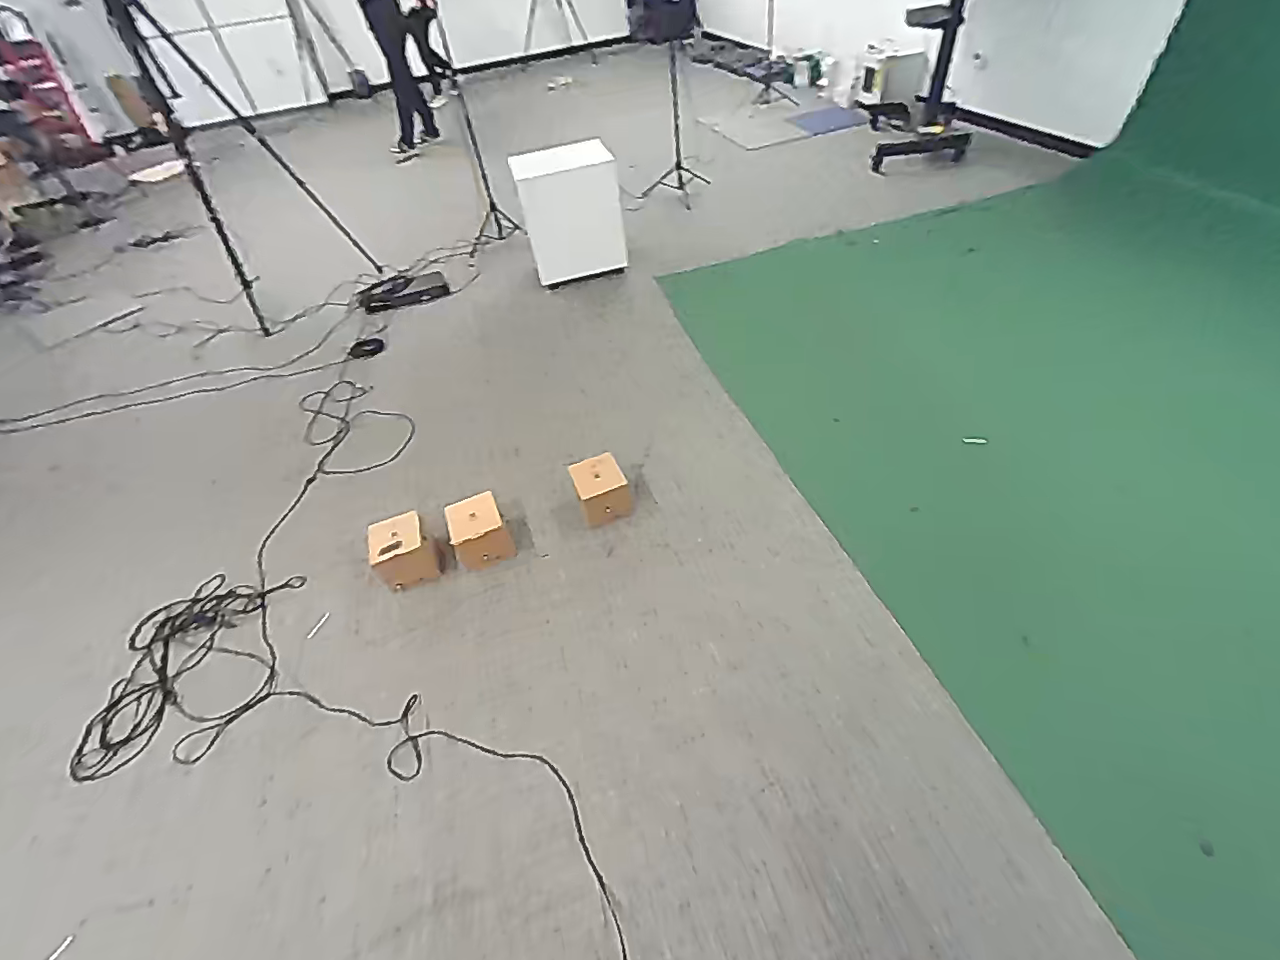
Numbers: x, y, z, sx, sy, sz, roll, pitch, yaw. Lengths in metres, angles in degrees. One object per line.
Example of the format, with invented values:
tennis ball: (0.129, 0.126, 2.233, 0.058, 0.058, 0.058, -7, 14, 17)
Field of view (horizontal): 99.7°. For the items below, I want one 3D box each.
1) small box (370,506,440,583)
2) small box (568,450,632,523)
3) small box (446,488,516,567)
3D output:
small box: (-0.783, 0.224, 1.808, 0.168, 0.176, 0.179, -19, 47, -10)
small box: (-0.137, 0.029, 1.898, 0.168, 0.176, 0.179, -20, 49, -12)
small box: (-0.537, 0.162, 1.832, 0.168, 0.176, 0.179, -22, 50, -11)
